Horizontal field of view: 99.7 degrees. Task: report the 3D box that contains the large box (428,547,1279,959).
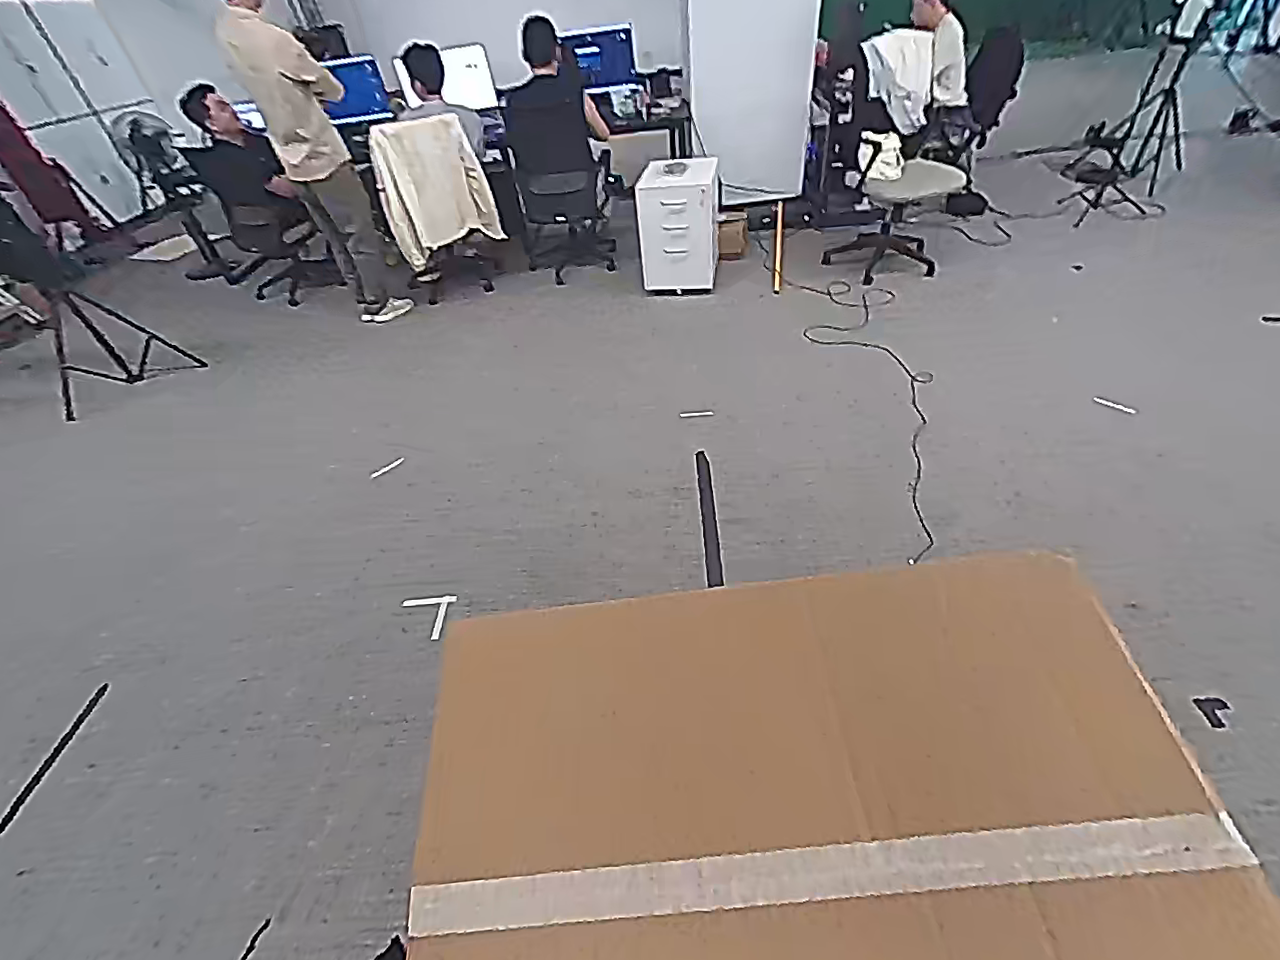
[{"bbox_3d":[0.104,0.281,0.403,0.408,0.320,0.320,-8,56,4],"label":"large box"}]
